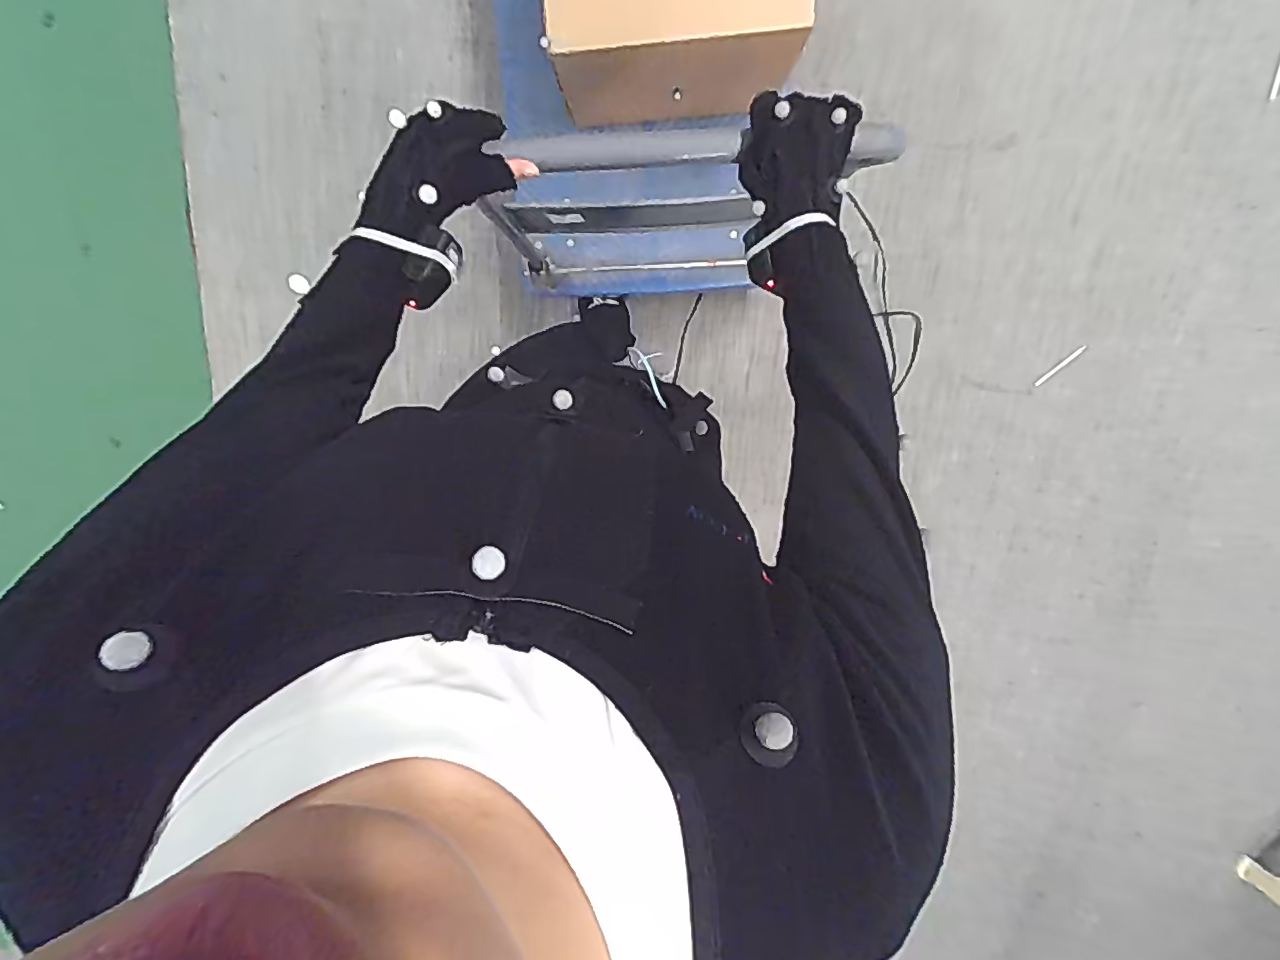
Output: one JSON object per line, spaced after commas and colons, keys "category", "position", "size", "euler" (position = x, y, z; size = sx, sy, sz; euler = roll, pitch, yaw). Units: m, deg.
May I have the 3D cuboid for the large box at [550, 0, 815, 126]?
{"category": "large box", "position": [0.061, -0.857, 0.934], "size": [0.408, 0.320, 0.320], "euler": [-4, 105, 4]}
